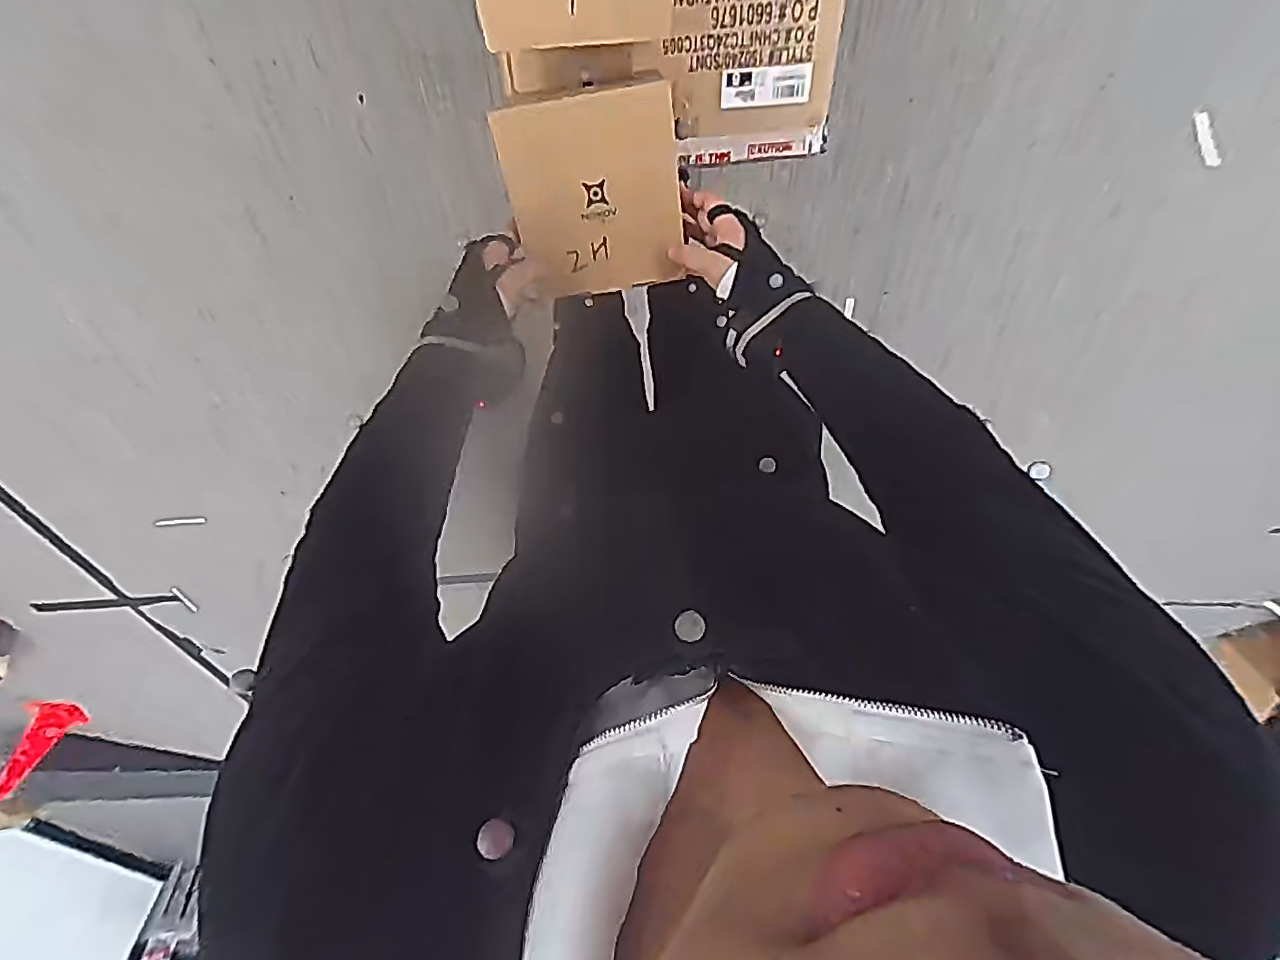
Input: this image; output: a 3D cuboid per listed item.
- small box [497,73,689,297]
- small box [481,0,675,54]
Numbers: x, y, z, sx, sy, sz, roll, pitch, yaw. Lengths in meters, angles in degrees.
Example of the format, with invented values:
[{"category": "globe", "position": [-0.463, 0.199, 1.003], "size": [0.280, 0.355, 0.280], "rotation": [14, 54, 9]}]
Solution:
[{"category": "small box", "position": [-0.043, -0.324, 0.588], "size": [0.168, 0.176, 0.179], "rotation": [-7, 131, 3]}, {"category": "small box", "position": [-0.058, -0.498, 0.472], "size": [0.168, 0.176, 0.179], "rotation": [-3, 135, 1]}]
